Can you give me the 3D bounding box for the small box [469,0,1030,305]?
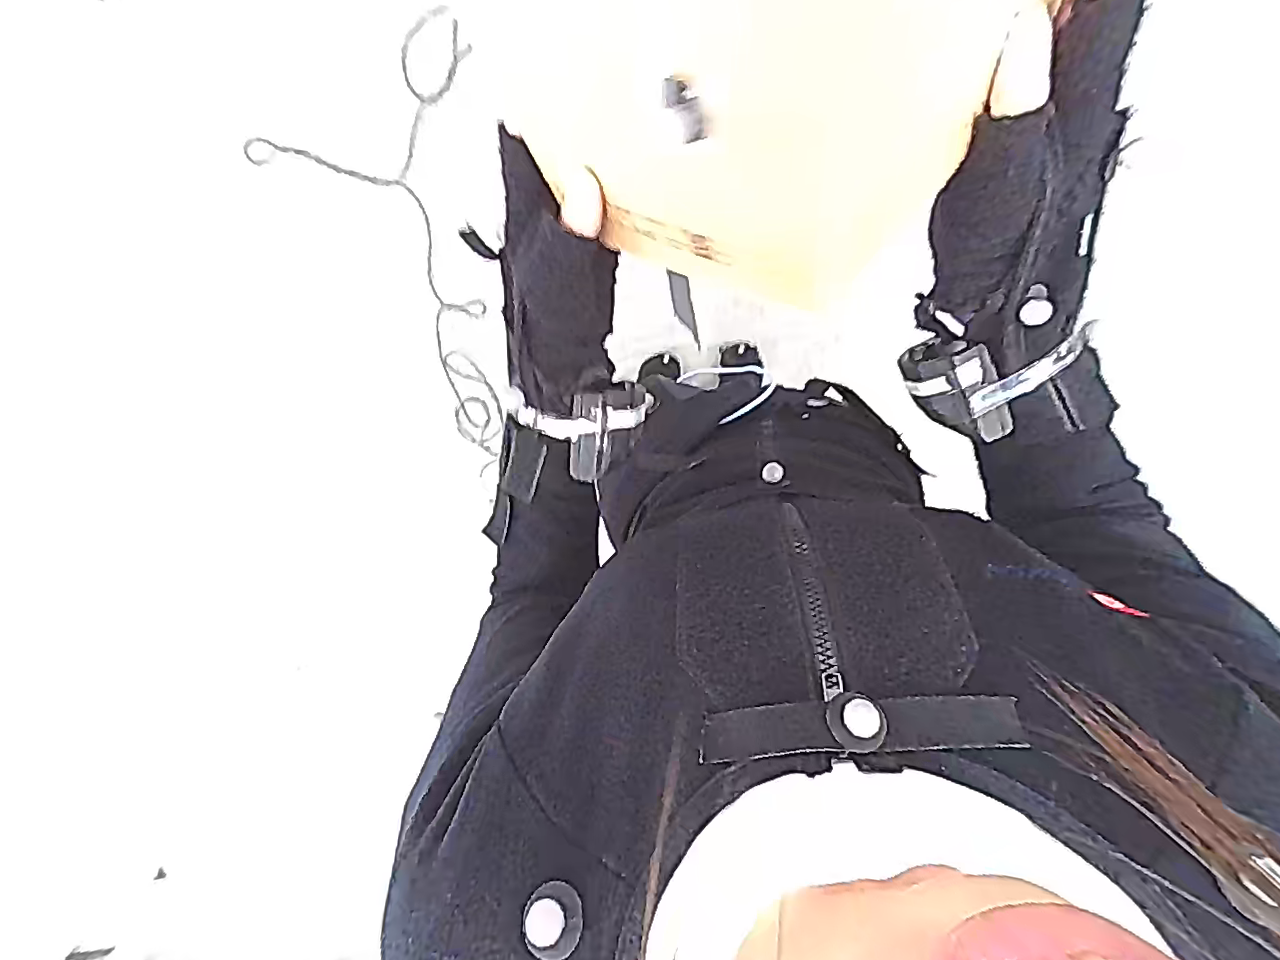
[{"bbox_3d":[0.052,-0.206,0.223,0.168,0.176,0.179,32,79,31],"label":"small box"}]
